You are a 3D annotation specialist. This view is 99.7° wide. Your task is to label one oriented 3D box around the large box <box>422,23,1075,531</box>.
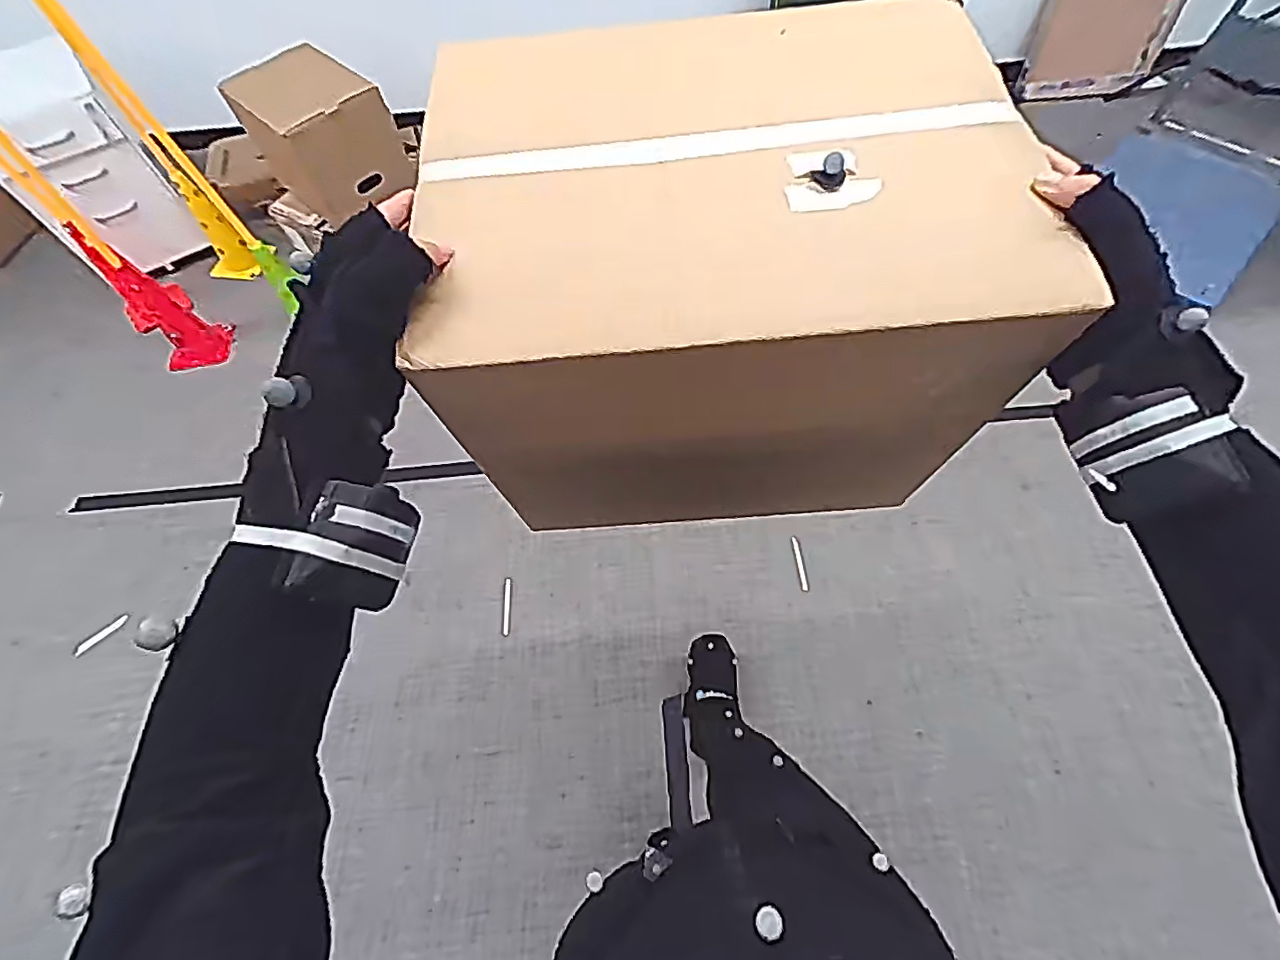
[{"bbox_3d":[0.058,-0.157,0.519,0.408,0.320,0.320,-5,67,1],"label":"large box"}]
